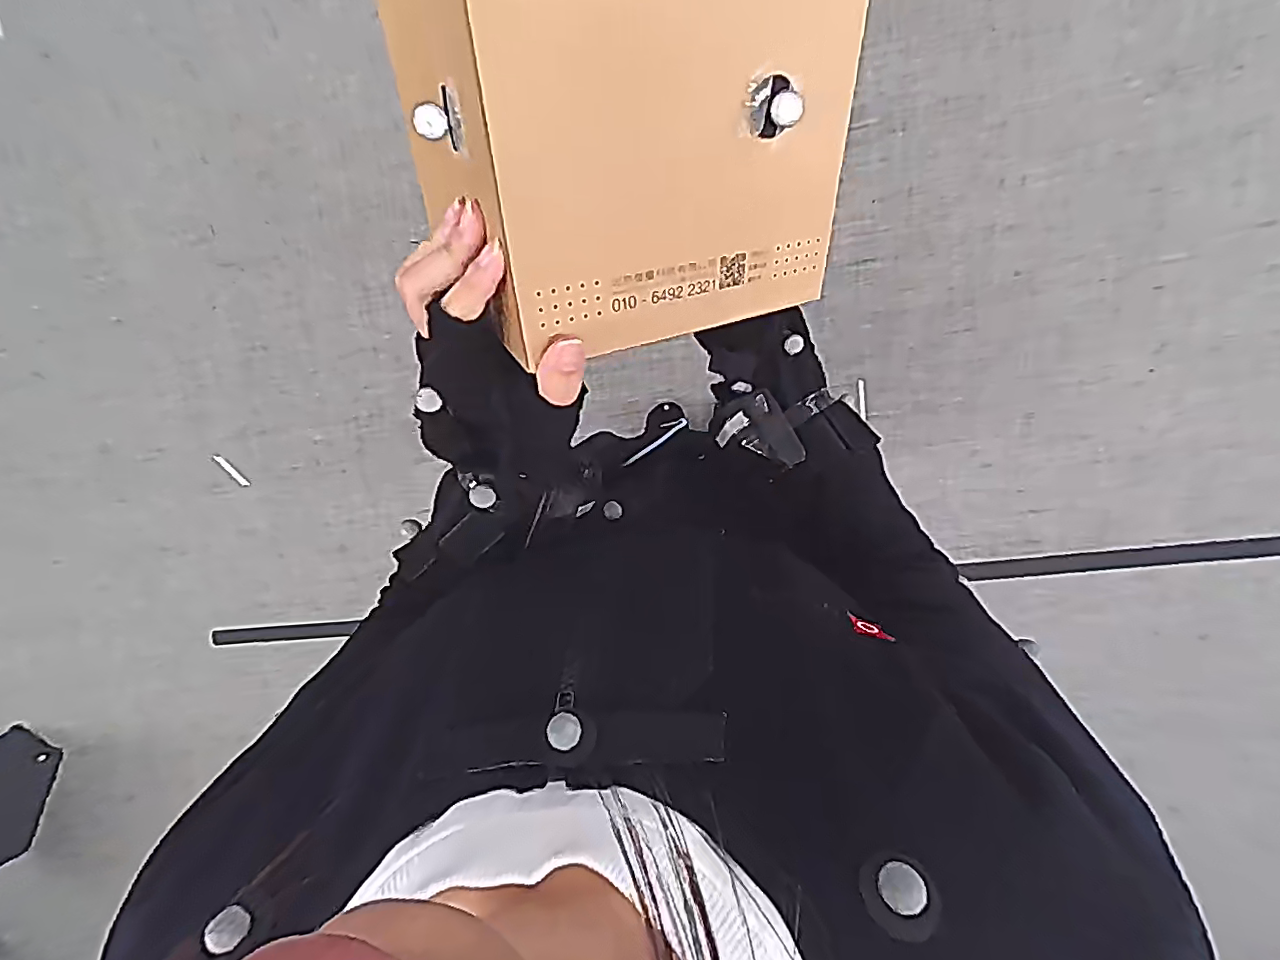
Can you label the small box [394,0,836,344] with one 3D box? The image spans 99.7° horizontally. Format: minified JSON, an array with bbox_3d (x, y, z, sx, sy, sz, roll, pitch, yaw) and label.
[{"bbox_3d":[-0.017,-0.185,0.291,0.168,0.179,0.176,-19,130,-21],"label":"small box"}]
